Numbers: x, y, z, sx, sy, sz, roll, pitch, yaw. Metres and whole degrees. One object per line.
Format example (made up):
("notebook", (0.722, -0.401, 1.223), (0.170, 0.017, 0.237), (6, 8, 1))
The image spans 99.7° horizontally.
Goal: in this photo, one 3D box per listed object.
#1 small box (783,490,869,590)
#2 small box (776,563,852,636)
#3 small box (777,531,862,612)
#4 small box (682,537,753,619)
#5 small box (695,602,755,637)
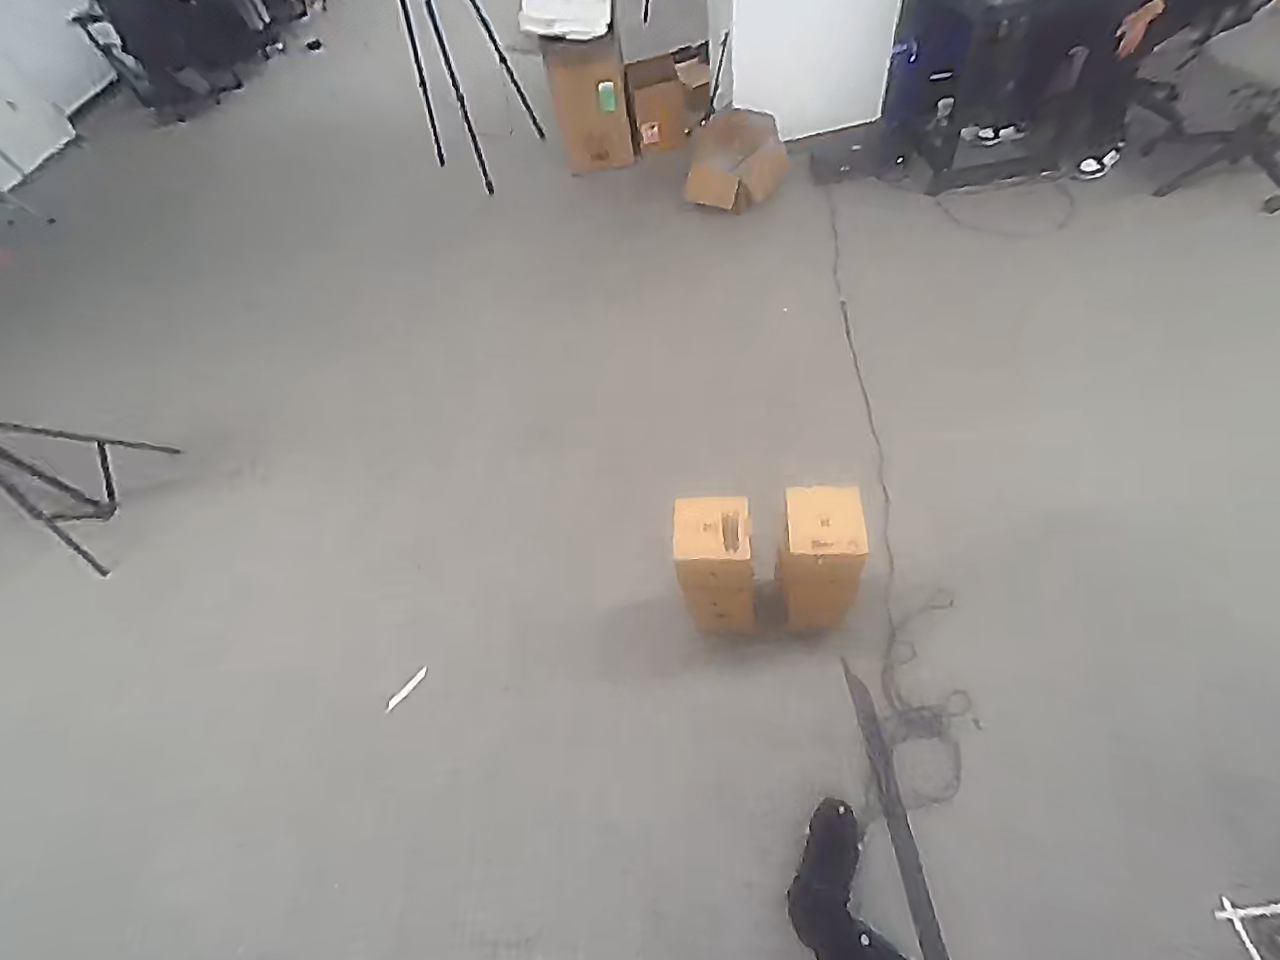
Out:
("small box", (0.429, 0.142, 1.275), (0.168, 0.176, 0.179), (-1, 54, 11))
("small box", (0.486, 0.325, 1.539), (0.168, 0.176, 0.179), (-9, 54, 6))
("small box", (0.459, 0.233, 1.408), (0.179, 0.176, 0.168), (-7, 54, 7))
("small box", (0.209, 0.262, 1.433), (0.179, 0.176, 0.168), (-2, 55, 11))
("small box", (0.242, 0.342, 1.574), (0.168, 0.176, 0.179), (-5, 55, 9))
